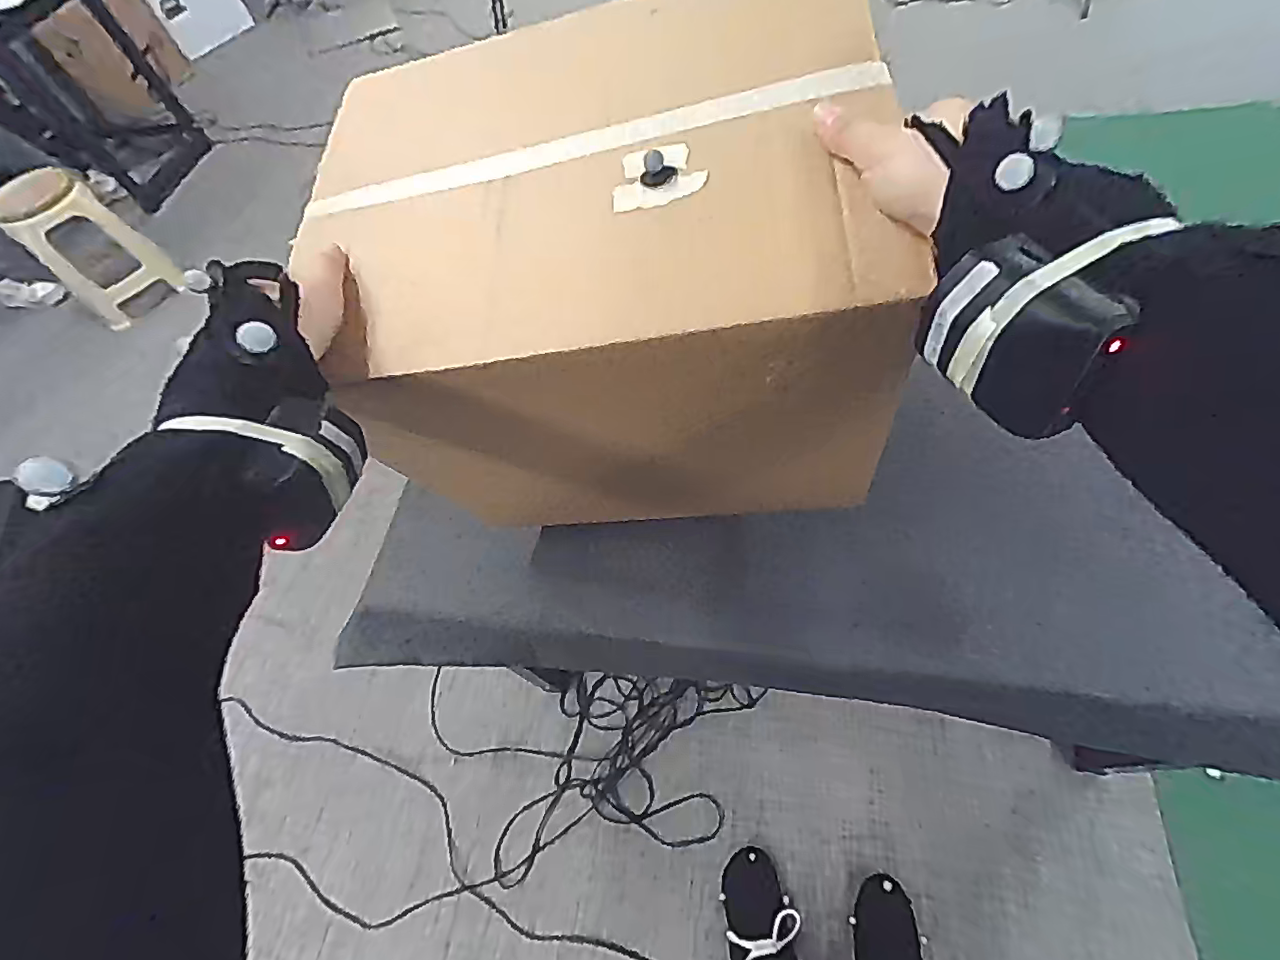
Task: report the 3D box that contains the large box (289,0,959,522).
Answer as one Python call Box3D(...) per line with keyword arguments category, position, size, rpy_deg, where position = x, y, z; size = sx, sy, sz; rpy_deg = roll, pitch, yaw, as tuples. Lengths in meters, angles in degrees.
Box3D(category="large box", position=(-0.002, -0.163, 0.496), size=(0.408, 0.320, 0.320), rpy_deg=(-5, 68, 13))
